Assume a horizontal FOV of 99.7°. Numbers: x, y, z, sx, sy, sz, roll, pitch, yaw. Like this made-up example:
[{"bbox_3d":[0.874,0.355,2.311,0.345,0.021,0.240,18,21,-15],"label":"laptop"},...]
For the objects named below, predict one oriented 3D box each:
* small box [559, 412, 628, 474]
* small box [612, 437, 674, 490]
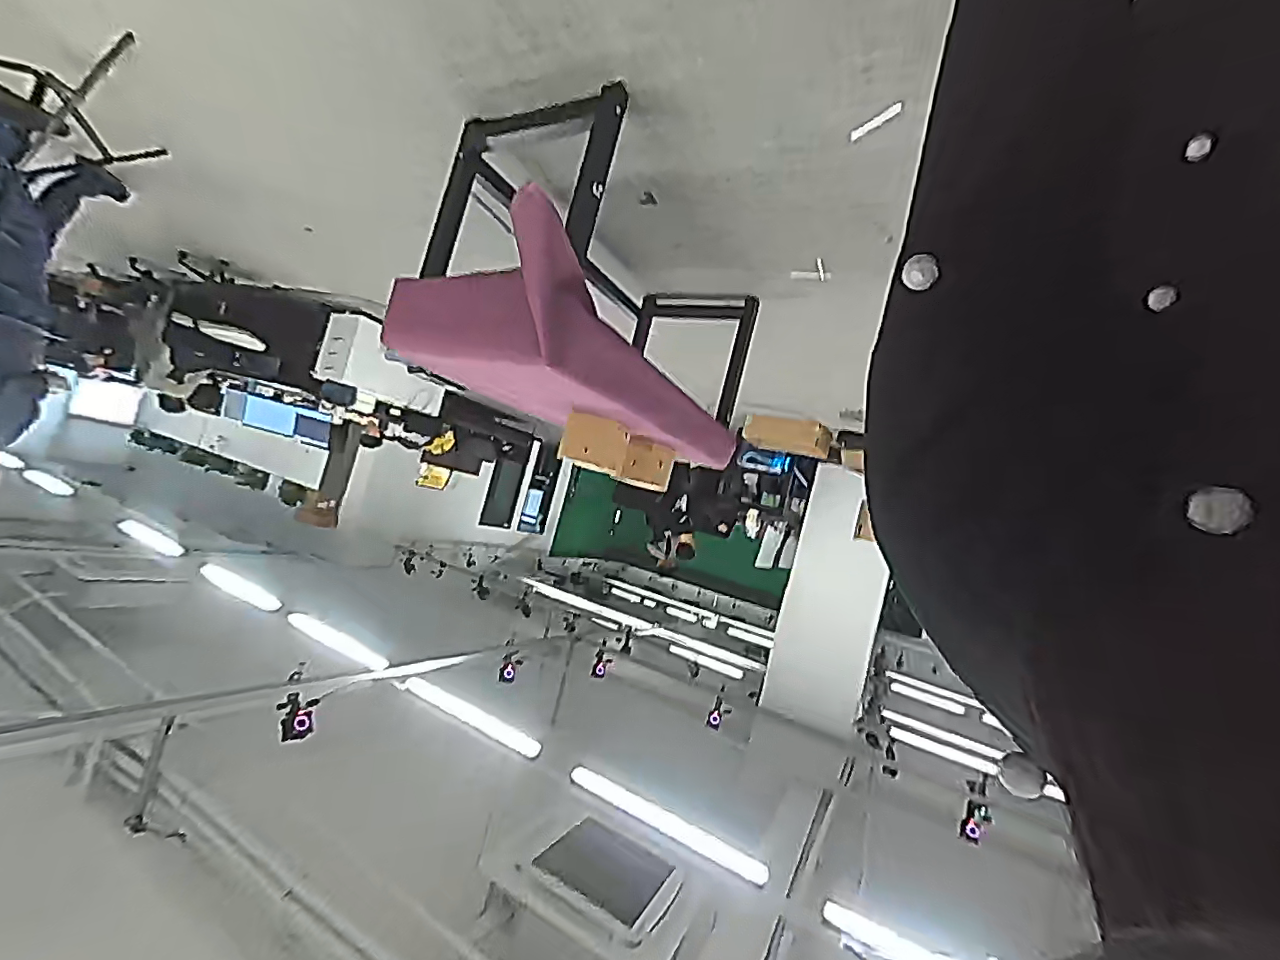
[{"bbox_3d":[-0.154,-0.131,1.888,0.179,0.176,0.168,14,176,23],"label":"small box"},{"bbox_3d":[0.019,-0.068,2.161,0.179,0.176,0.168,11,175,39],"label":"small box"}]
